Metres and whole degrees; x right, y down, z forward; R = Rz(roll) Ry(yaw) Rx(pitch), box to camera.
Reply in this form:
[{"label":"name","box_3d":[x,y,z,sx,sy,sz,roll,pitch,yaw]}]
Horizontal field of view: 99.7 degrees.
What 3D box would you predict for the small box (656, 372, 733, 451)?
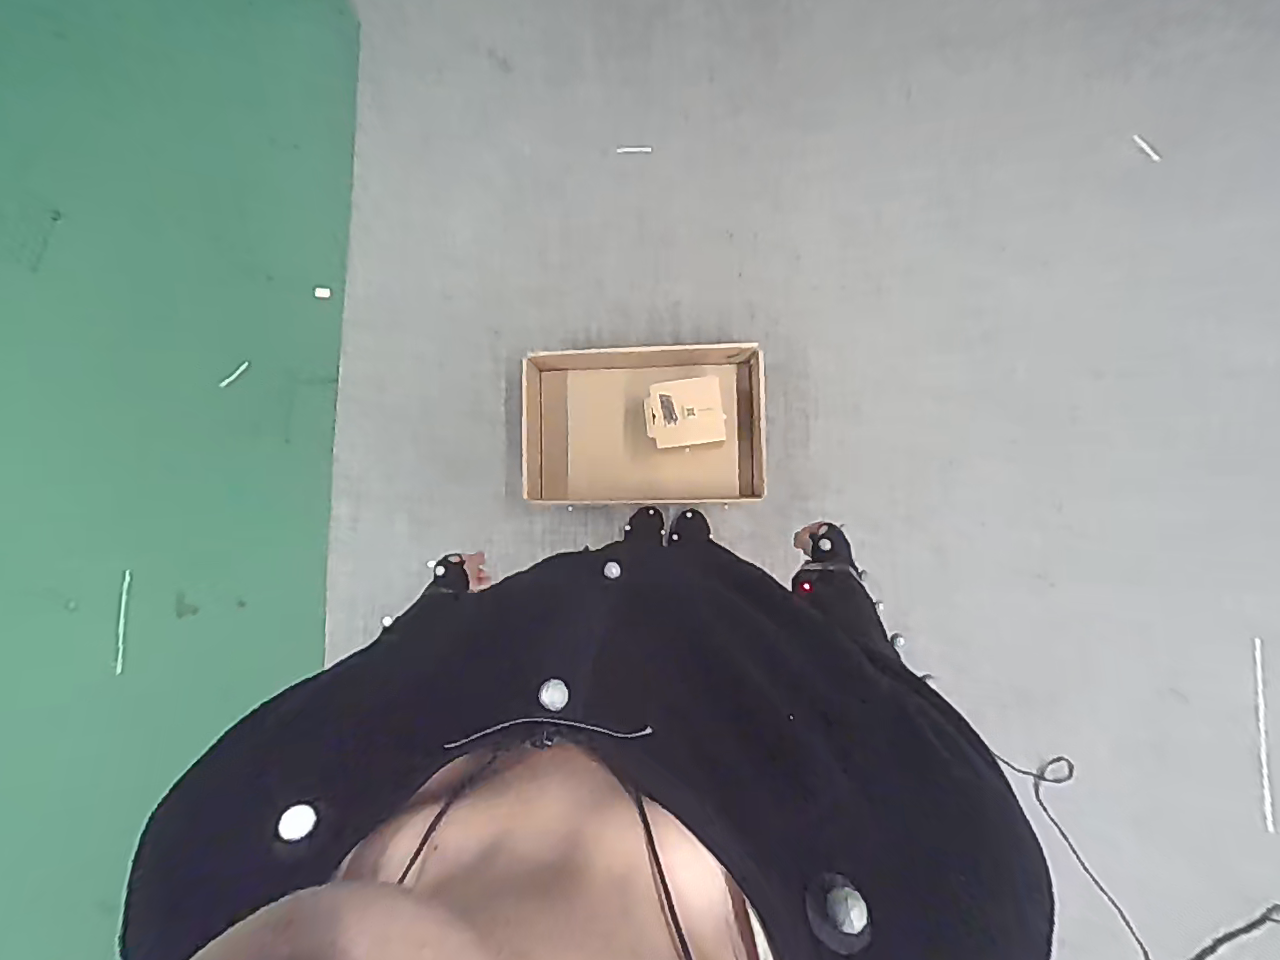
[{"label":"small box","box_3d":[0.144,-0.172,1.407,0.179,0.176,0.168,-7,87,6]}]
